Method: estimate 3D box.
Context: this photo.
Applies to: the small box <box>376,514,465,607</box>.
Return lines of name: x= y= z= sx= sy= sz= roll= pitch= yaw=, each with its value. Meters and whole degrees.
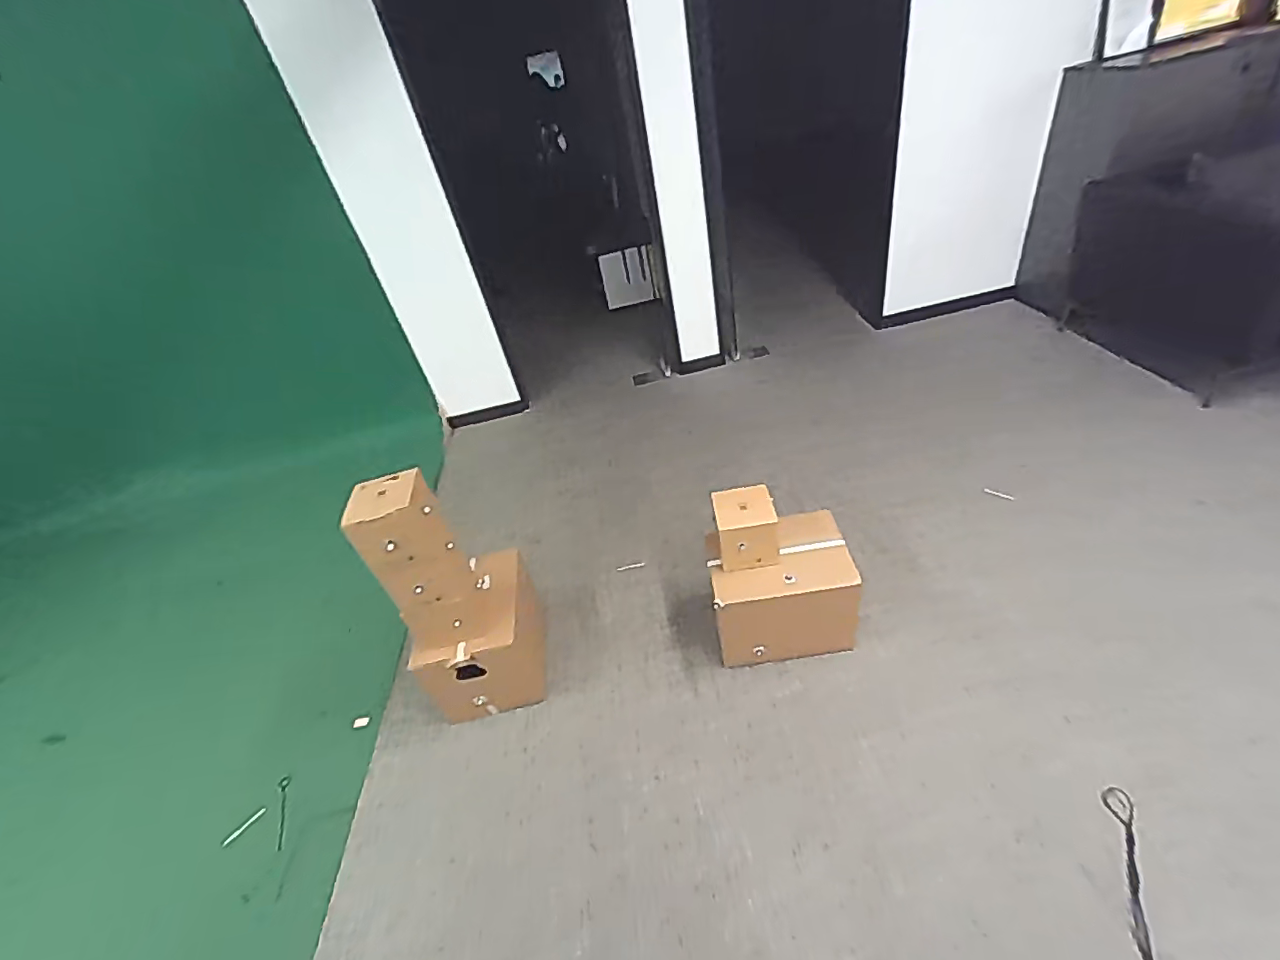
small box: x=-0.590 y=0.225 z=1.477 sx=0.168 sy=0.176 sz=0.179 roll=-16 pitch=36 yaw=-4

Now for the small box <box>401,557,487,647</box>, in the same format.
small box: x=-0.559 y=0.355 z=1.571 sx=0.179 sy=0.176 sz=0.168 roll=-15 pitch=37 yaw=0

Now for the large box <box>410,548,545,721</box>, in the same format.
large box: x=-0.507 y=0.498 z=1.774 sx=0.320 sy=0.320 sz=0.408 roll=-14 pitch=37 yaw=0

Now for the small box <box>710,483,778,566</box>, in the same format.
small box: x=0.306 y=0.137 z=1.585 sx=0.168 sy=0.176 sz=0.179 roll=-9 pitch=35 yaw=5

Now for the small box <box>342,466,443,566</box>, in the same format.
small box: x=-0.619 y=0.098 z=1.376 sx=0.168 sy=0.176 sz=0.179 roll=-15 pitch=38 yaw=-3
